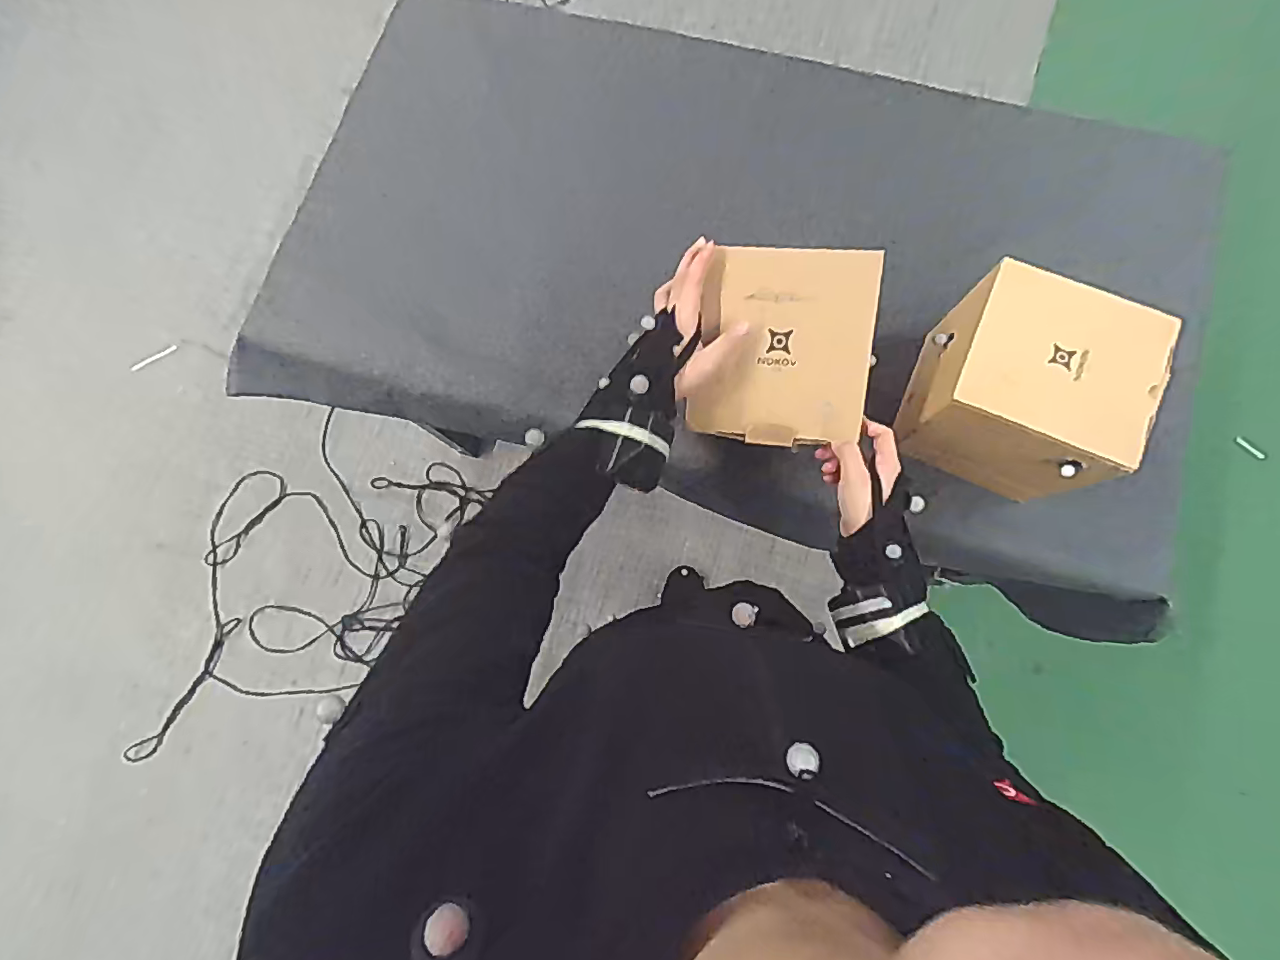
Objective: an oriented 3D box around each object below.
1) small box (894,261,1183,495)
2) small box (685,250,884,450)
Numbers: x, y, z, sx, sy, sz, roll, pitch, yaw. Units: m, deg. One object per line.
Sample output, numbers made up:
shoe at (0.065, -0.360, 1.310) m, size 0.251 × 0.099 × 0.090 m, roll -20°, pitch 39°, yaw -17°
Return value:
small box at (0.411, -0.097, 0.591) m, size 0.179 × 0.176 × 0.168 m, roll 24°, pitch 80°, yaw 7°
small box at (0.142, -0.131, 0.576) m, size 0.168 × 0.176 × 0.179 m, roll 4°, pitch 98°, yaw 9°
